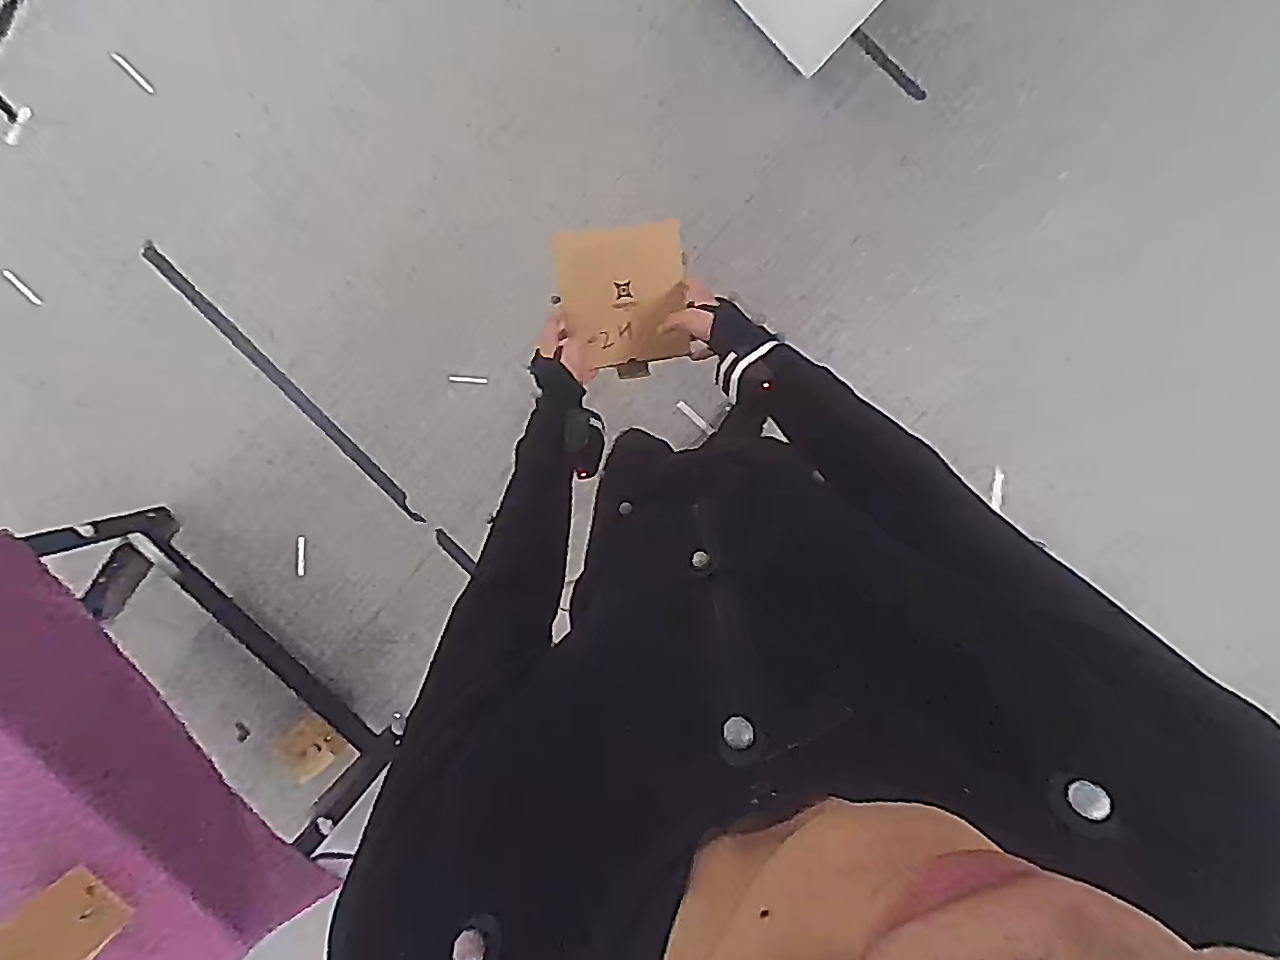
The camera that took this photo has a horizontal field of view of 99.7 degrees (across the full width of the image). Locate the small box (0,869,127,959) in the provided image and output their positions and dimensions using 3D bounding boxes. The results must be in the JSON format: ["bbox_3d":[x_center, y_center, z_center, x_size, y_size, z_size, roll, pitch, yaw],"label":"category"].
[{"bbox_3d":[-1.251,0.983,1.136,0.168,0.176,0.179,44,101,-2],"label":"small box"}]

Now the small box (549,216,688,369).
[{"bbox_3d":[-0.034,-0.263,0.783,0.168,0.176,0.179,-9,107,-3],"label":"small box"}]
